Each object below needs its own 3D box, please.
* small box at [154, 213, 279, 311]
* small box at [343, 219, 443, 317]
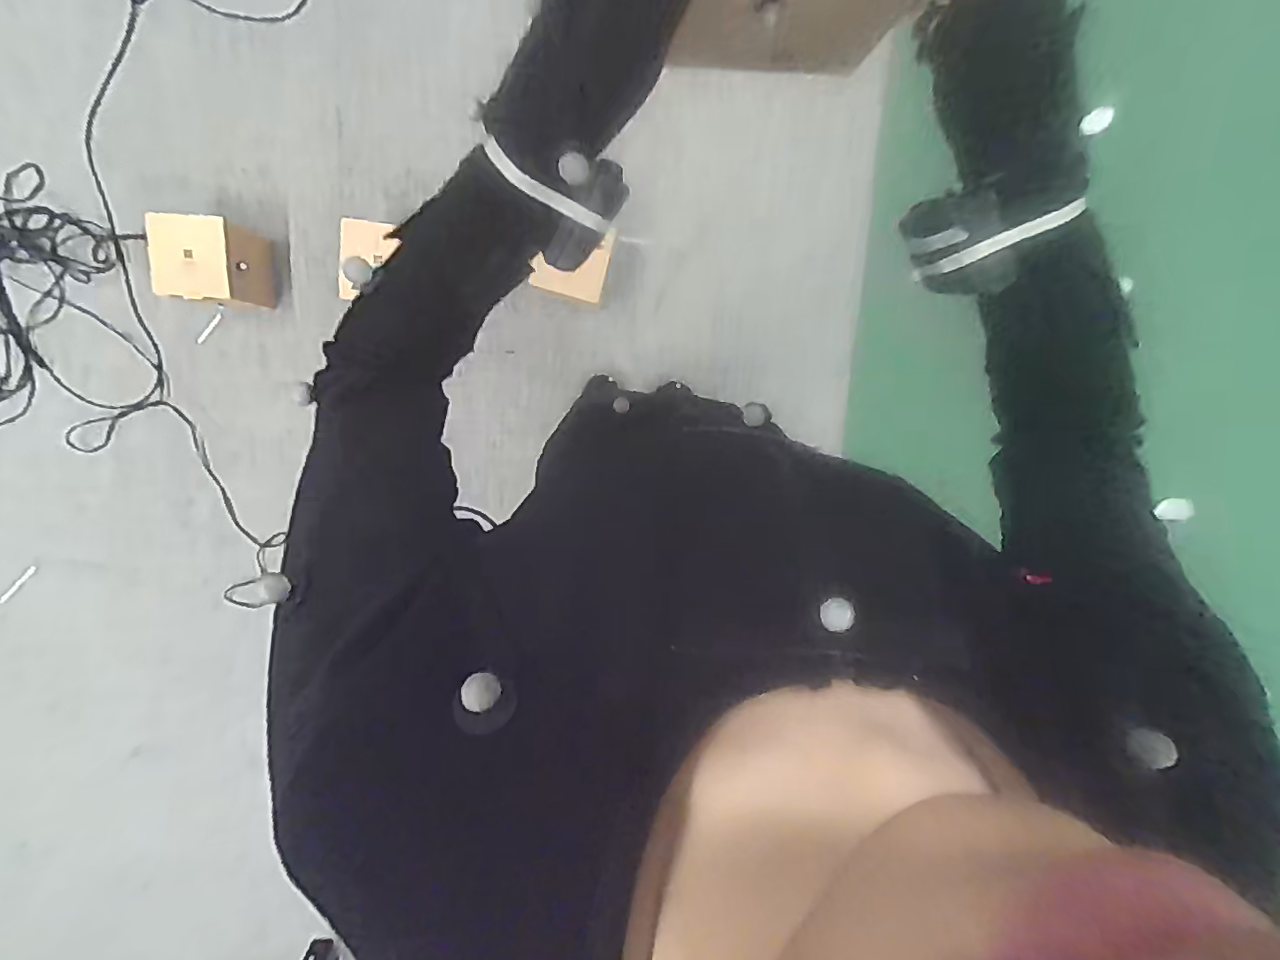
[{"bbox_3d":[-0.984,-0.504,1.271,0.168,0.176,0.179,2,100,-2],"label":"small box"},{"bbox_3d":[-0.581,-0.494,1.288,0.168,0.176,0.179,7,99,-3],"label":"small box"}]
